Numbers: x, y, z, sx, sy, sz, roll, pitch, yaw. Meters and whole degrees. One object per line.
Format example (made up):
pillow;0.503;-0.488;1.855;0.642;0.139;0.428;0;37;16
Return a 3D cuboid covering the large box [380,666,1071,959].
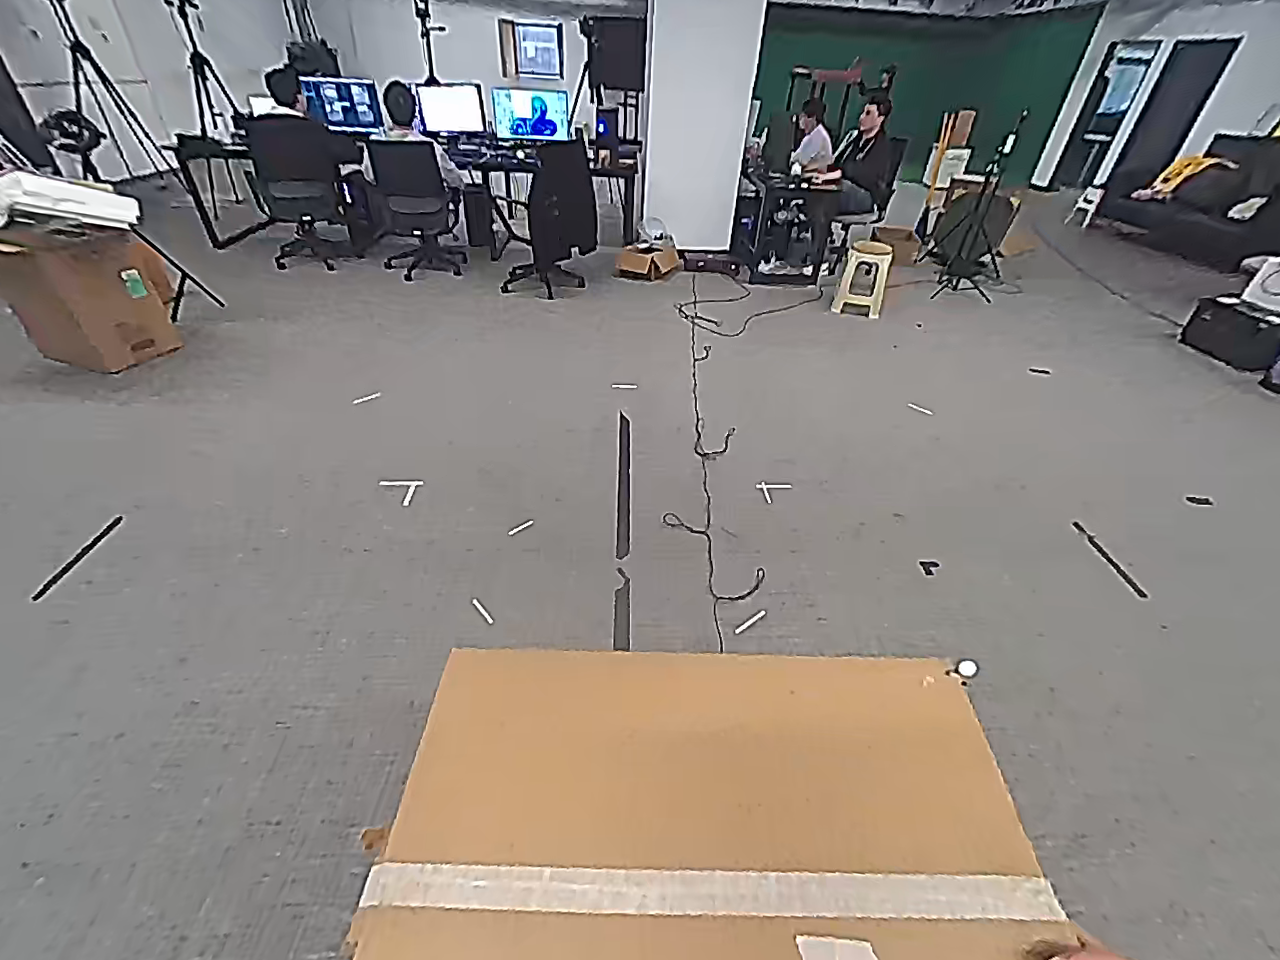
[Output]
large box;0.047;0.367;0.429;0.408;0.320;0.320;1;43;0
